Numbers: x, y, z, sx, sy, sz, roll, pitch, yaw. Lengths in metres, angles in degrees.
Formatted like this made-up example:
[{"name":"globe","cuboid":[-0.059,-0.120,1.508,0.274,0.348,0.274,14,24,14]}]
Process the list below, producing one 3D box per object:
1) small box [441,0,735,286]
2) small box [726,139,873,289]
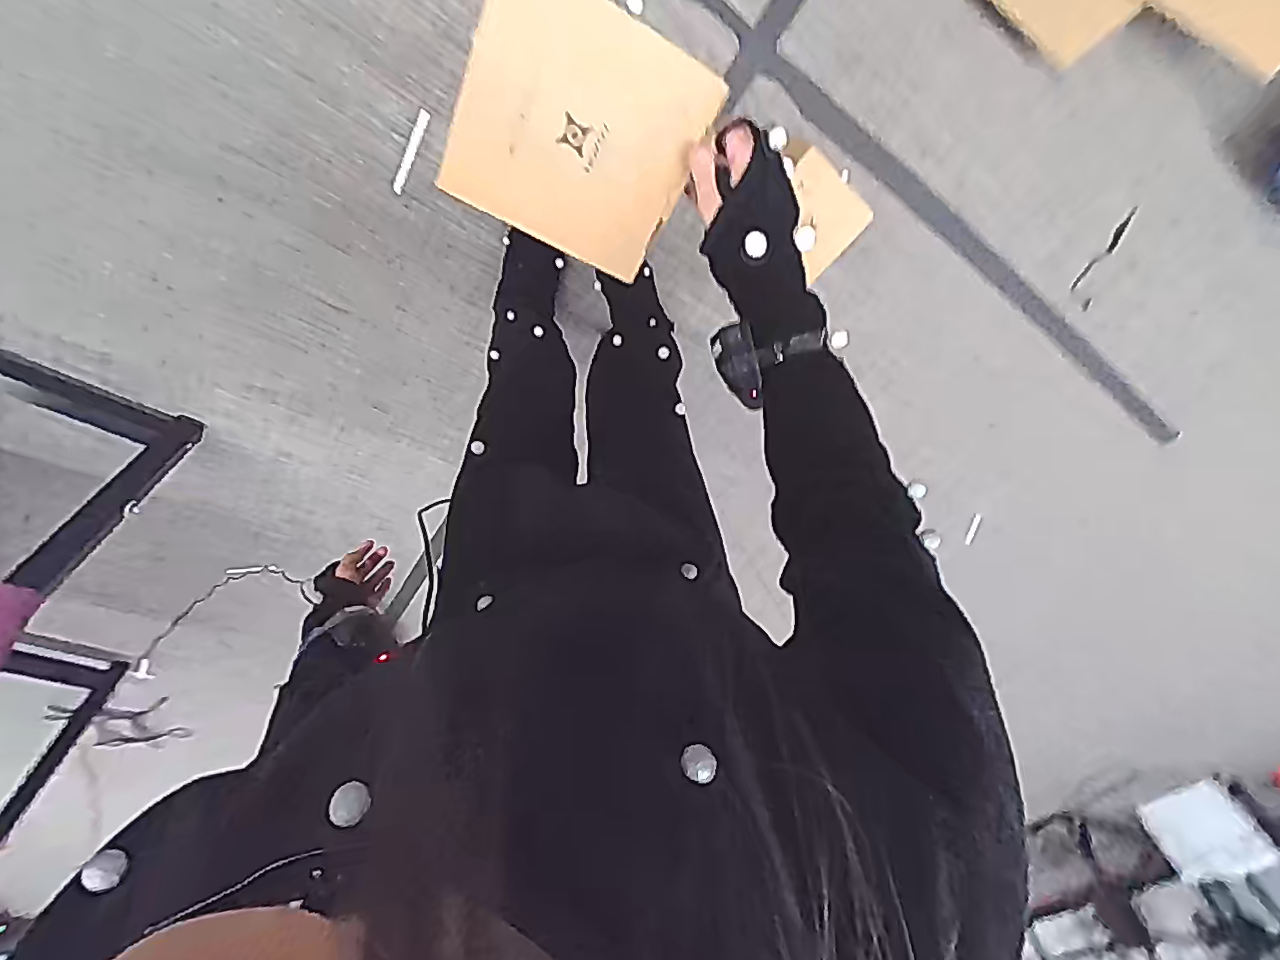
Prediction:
[{"name":"small box","cuboid":[-0.048,-0.305,0.469,0.179,0.176,0.168,20,124,-20]},{"name":"small box","cuboid":[0.287,-0.497,1.002,0.179,0.176,0.168,29,120,-27]}]
